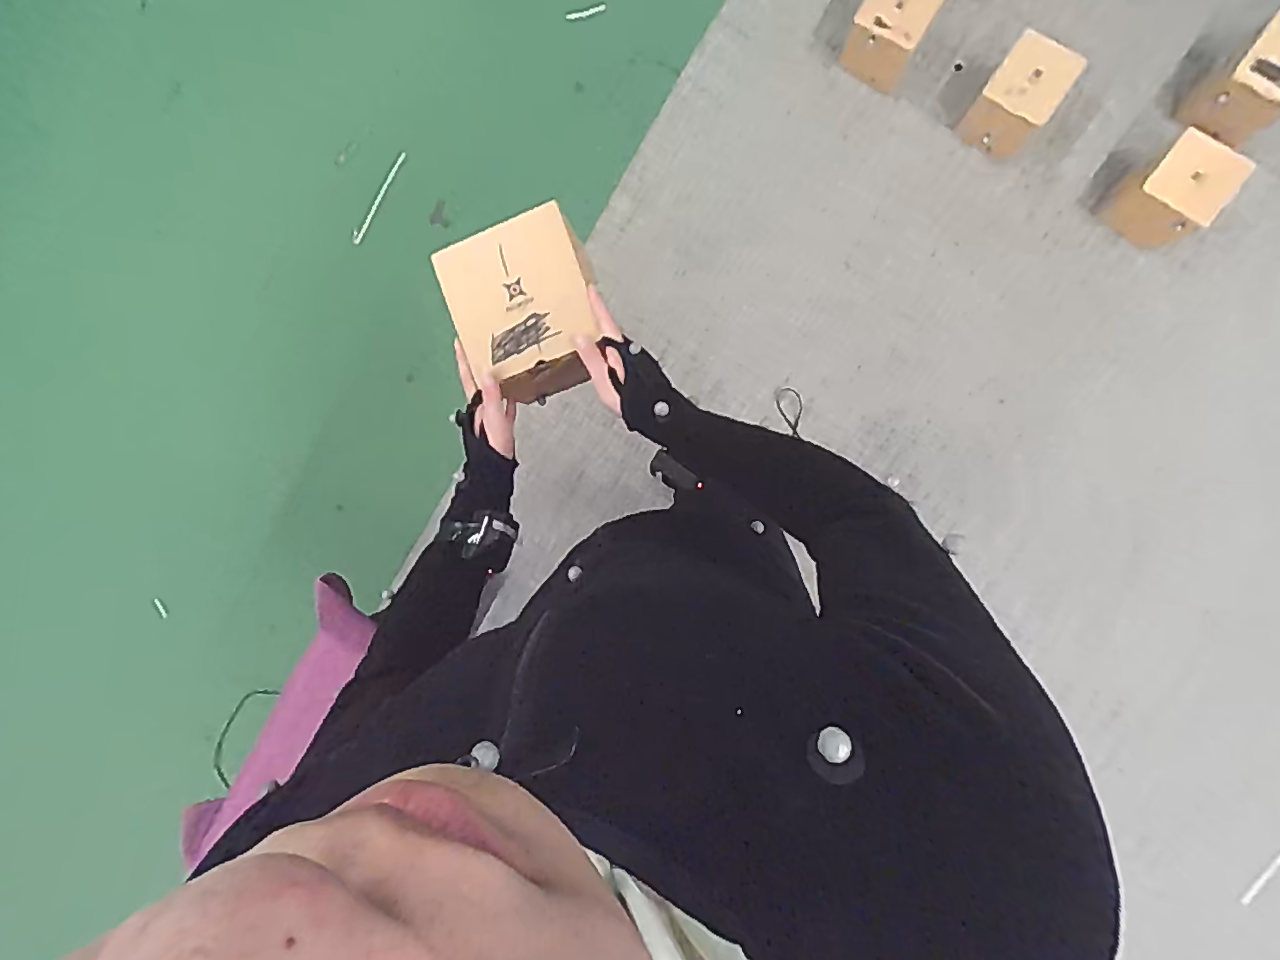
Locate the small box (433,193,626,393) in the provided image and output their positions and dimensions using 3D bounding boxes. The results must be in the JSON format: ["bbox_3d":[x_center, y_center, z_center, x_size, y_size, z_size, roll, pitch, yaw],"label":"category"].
[{"bbox_3d":[-0.127,-0.220,0.695,0.168,0.176,0.179,-19,89,7],"label":"small box"}]

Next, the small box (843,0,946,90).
[{"bbox_3d":[0.641,-1.150,1.363,0.168,0.176,0.179,33,96,6],"label":"small box"}]

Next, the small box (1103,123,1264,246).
[{"bbox_3d":[1.289,-0.698,1.300,0.179,0.176,0.168,35,98,4],"label":"small box"}]

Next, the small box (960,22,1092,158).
[{"bbox_3d":[0.936,-0.949,1.333,0.168,0.176,0.179,34,98,5],"label":"small box"}]
